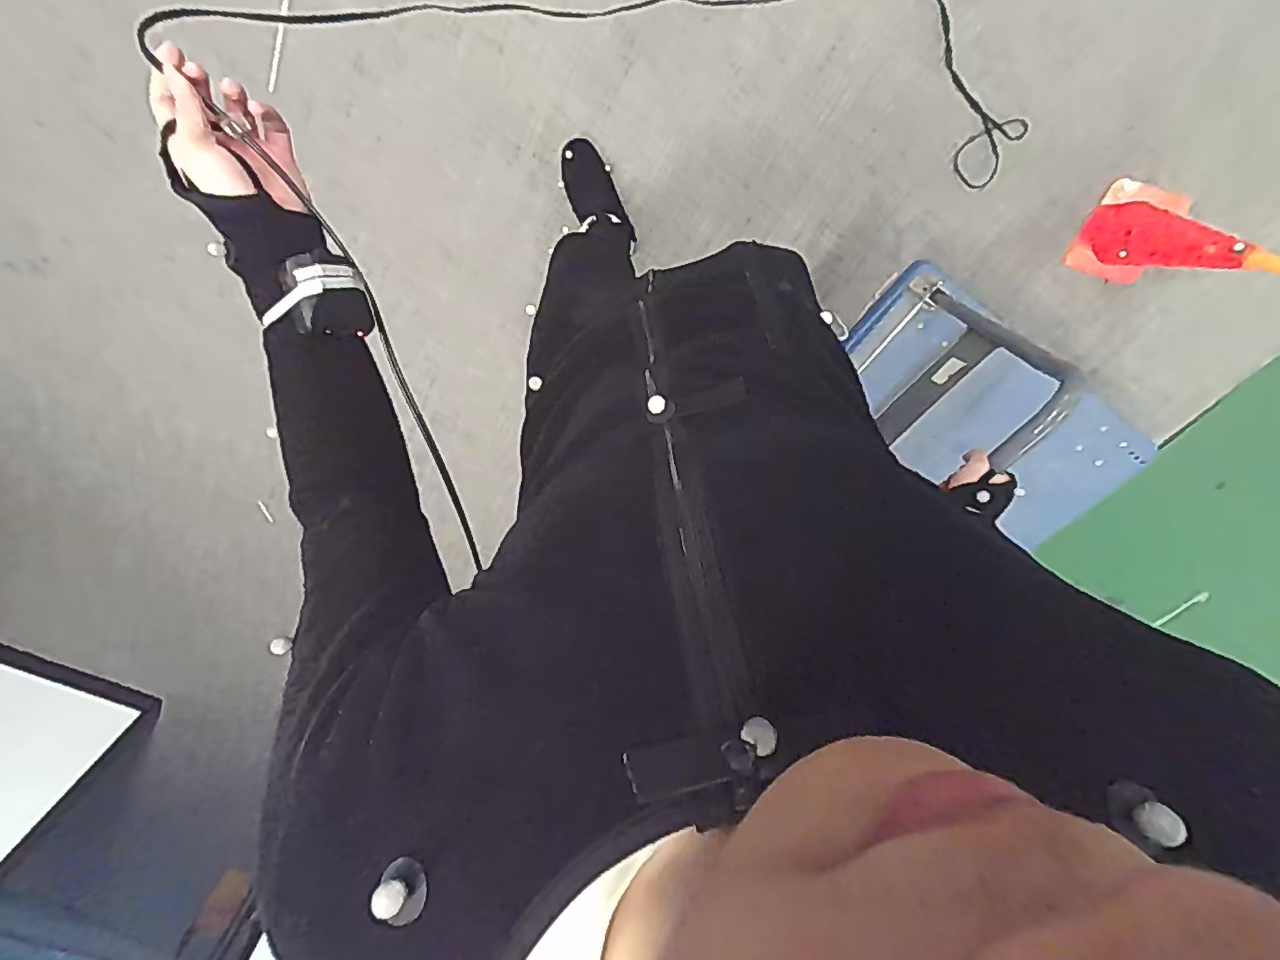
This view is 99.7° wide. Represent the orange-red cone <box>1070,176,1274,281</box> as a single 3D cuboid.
[{"bbox_3d":[1.165,-0.510,1.152,0.198,0.360,0.199,16,120,-6],"label":"orange-red cone"}]
